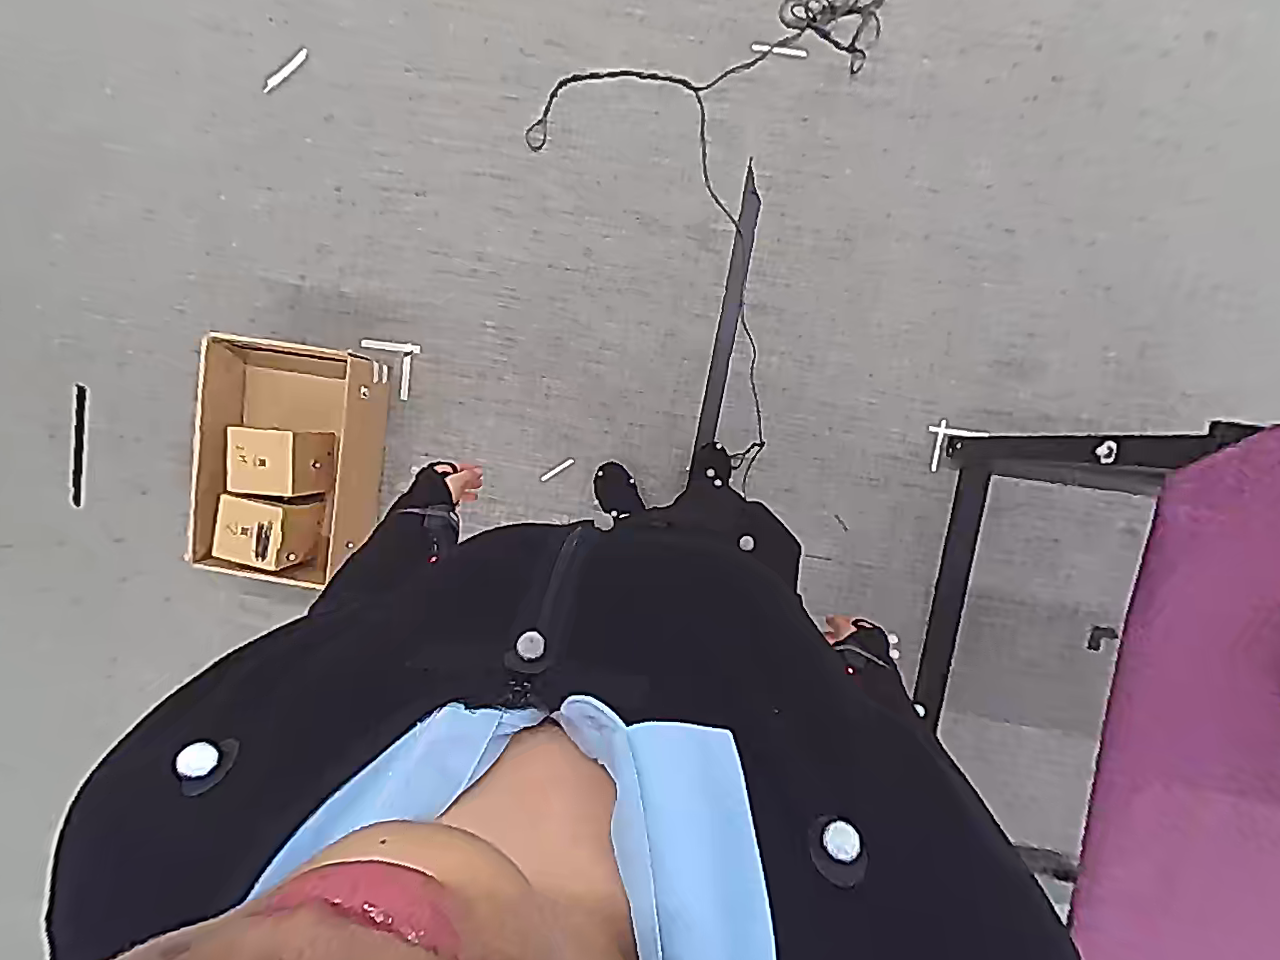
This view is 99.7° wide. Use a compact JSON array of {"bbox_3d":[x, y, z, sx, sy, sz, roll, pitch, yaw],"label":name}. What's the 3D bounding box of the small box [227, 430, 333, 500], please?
[{"bbox_3d":[-0.947,-0.045,1.435,0.179,0.176,0.168,5,95,4],"label":"small box"}]
